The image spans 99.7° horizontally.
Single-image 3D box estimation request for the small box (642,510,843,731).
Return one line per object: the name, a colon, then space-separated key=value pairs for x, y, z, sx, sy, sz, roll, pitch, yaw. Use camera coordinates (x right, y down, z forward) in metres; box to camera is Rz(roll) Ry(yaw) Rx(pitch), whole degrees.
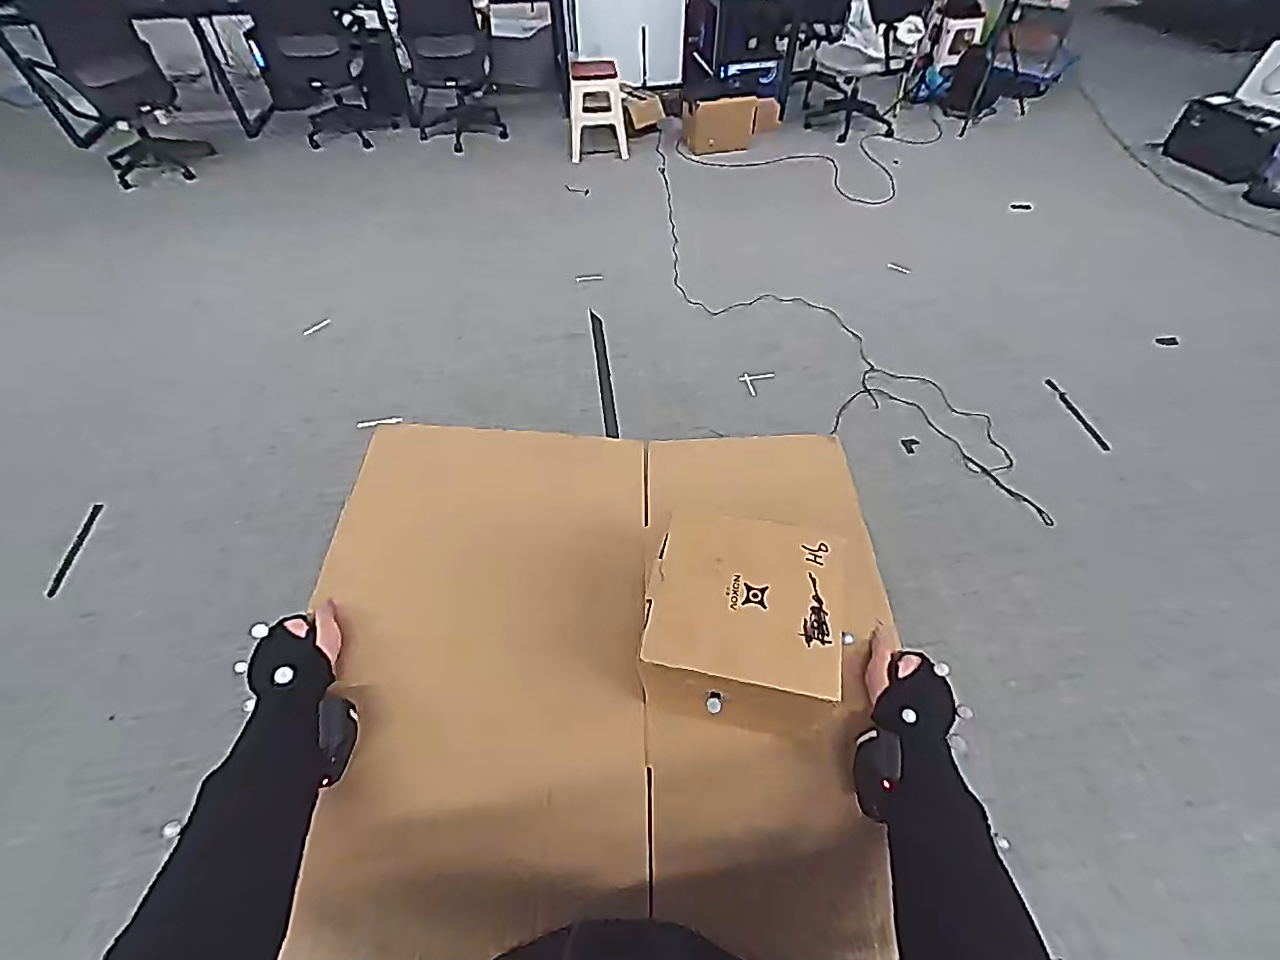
small box: x=0.111 y=0.154 z=0.582 sx=0.179 sy=0.176 sz=0.168 roll=7 pitch=55 yaw=12
